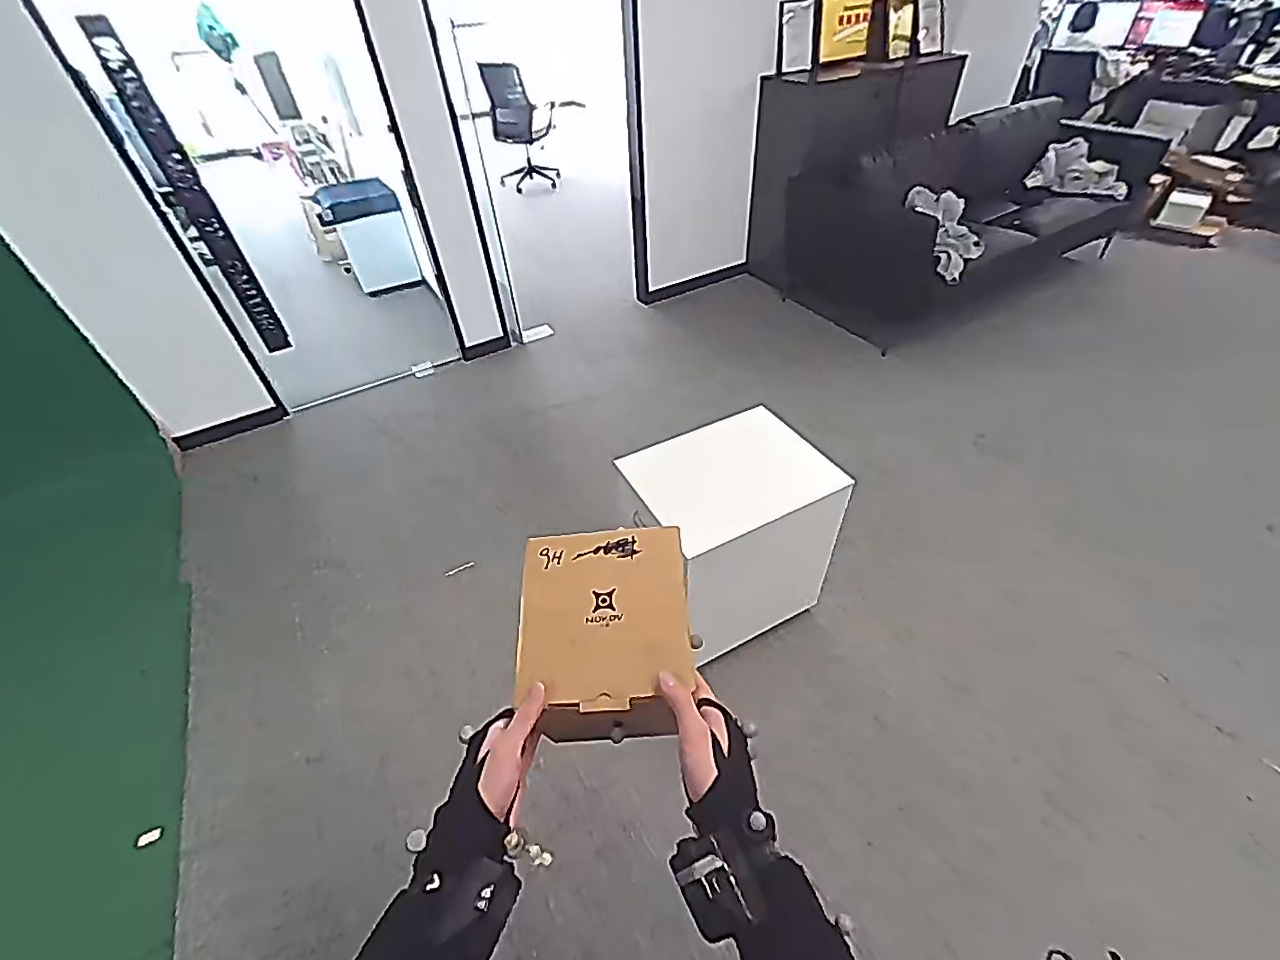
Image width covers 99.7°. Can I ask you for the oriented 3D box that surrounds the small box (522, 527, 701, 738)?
[{"bbox_3d":[-0.025,0.176,0.597,0.168,0.176,0.179,-7,54,2],"label":"small box"}]
